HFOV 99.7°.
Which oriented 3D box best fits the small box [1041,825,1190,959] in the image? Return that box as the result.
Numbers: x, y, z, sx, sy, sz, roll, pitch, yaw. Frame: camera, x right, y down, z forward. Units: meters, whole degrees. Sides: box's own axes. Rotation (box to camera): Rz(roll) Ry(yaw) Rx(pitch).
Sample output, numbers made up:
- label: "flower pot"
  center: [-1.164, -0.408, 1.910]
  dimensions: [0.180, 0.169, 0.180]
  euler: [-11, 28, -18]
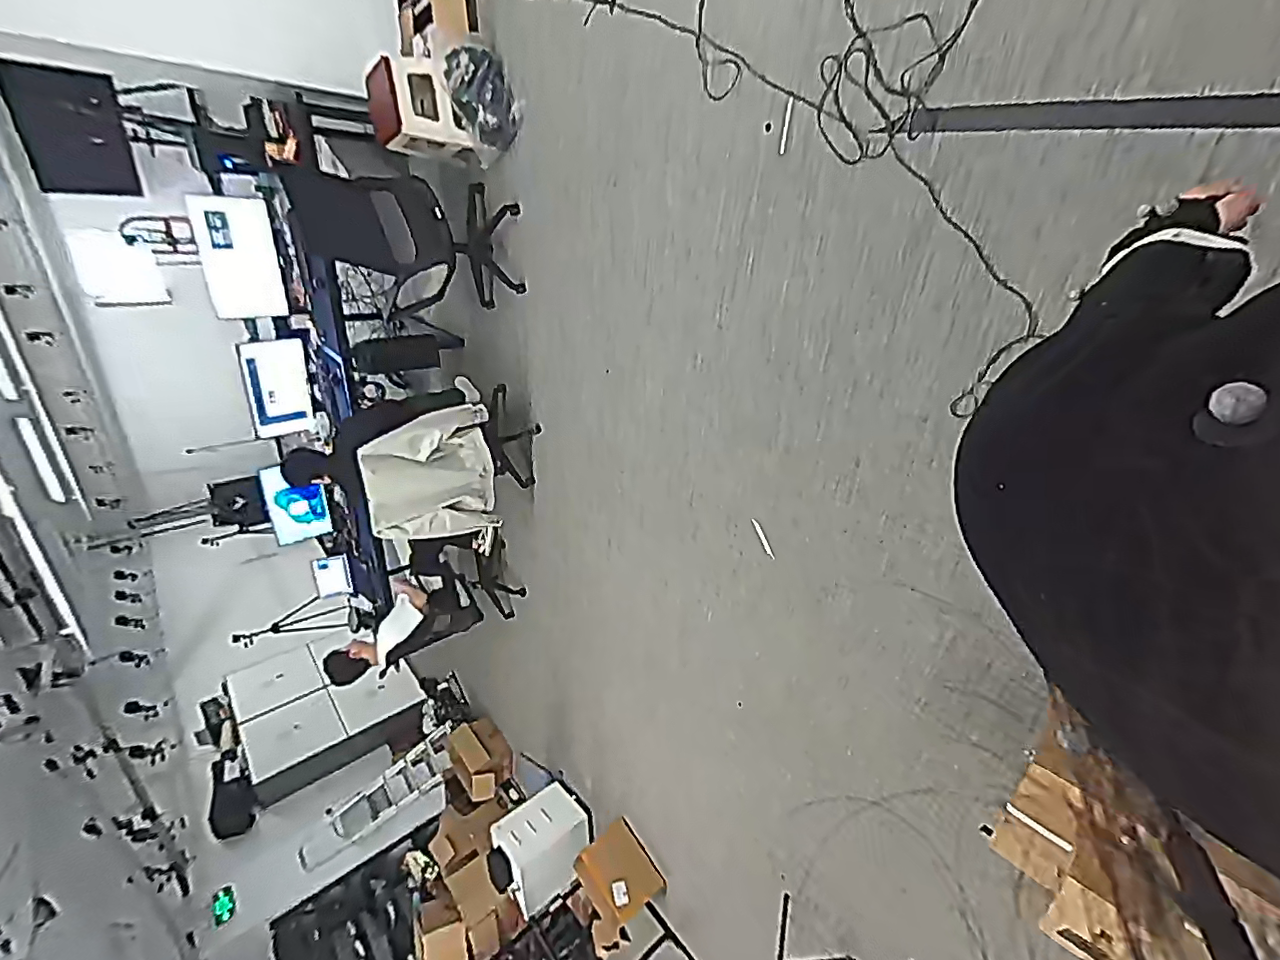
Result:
- label: "small box"
  center: [0.937, 0.840, 1.065]
  dimensions: [0.168, 0.176, 0.179]
  euler: [27, 123, 42]
